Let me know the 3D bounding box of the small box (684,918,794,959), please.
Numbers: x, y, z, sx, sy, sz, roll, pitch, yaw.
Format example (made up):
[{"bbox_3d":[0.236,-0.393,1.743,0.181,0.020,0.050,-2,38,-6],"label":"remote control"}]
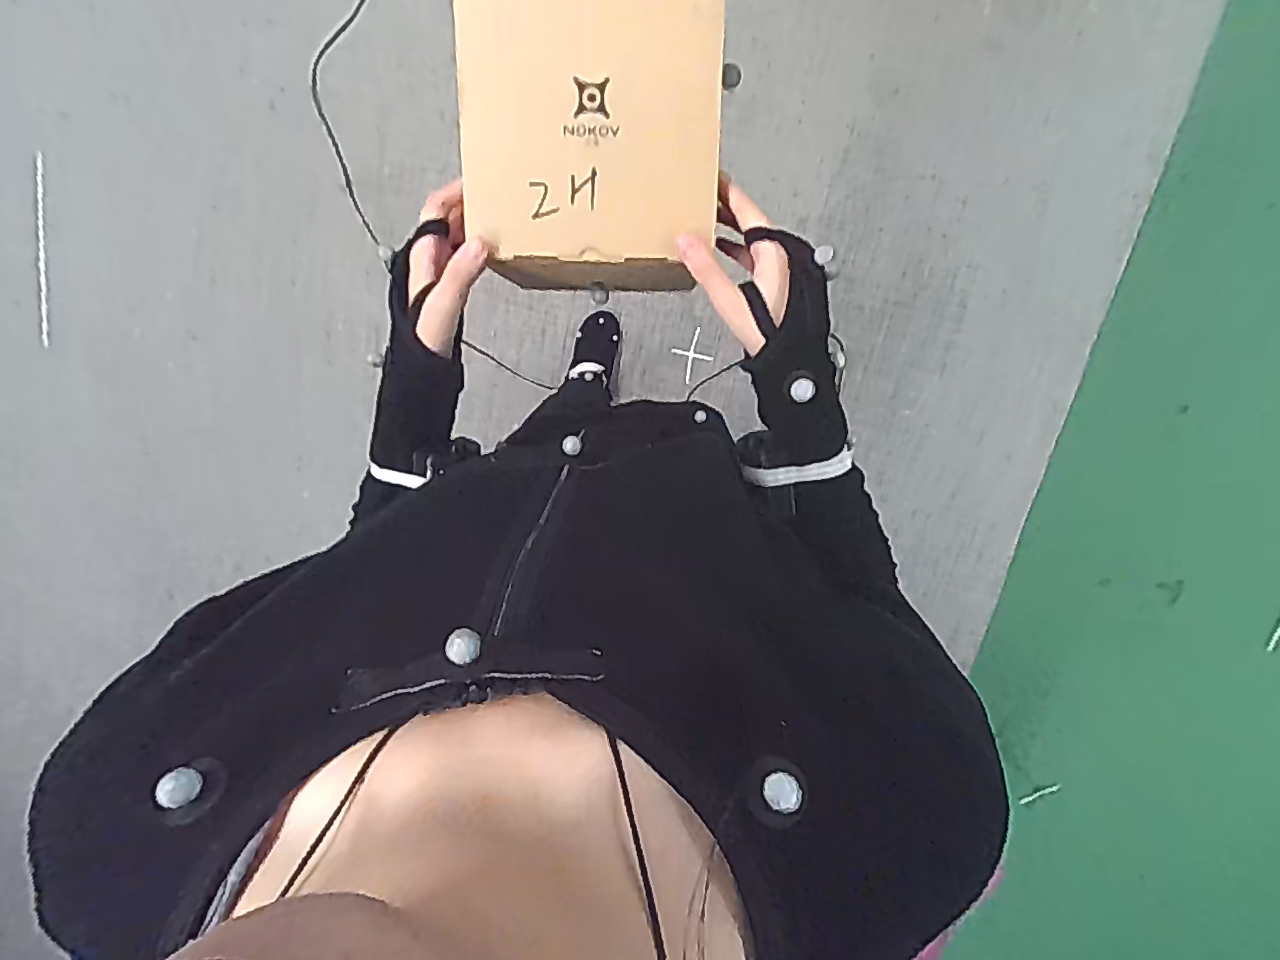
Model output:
[{"bbox_3d":[0.155,0.855,0.867,0.179,0.176,0.168,9,103,1],"label":"small box"}]

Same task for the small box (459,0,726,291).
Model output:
[{"bbox_3d":[-0.033,-0.253,0.421,0.168,0.176,0.179,3,104,-1],"label":"small box"}]
